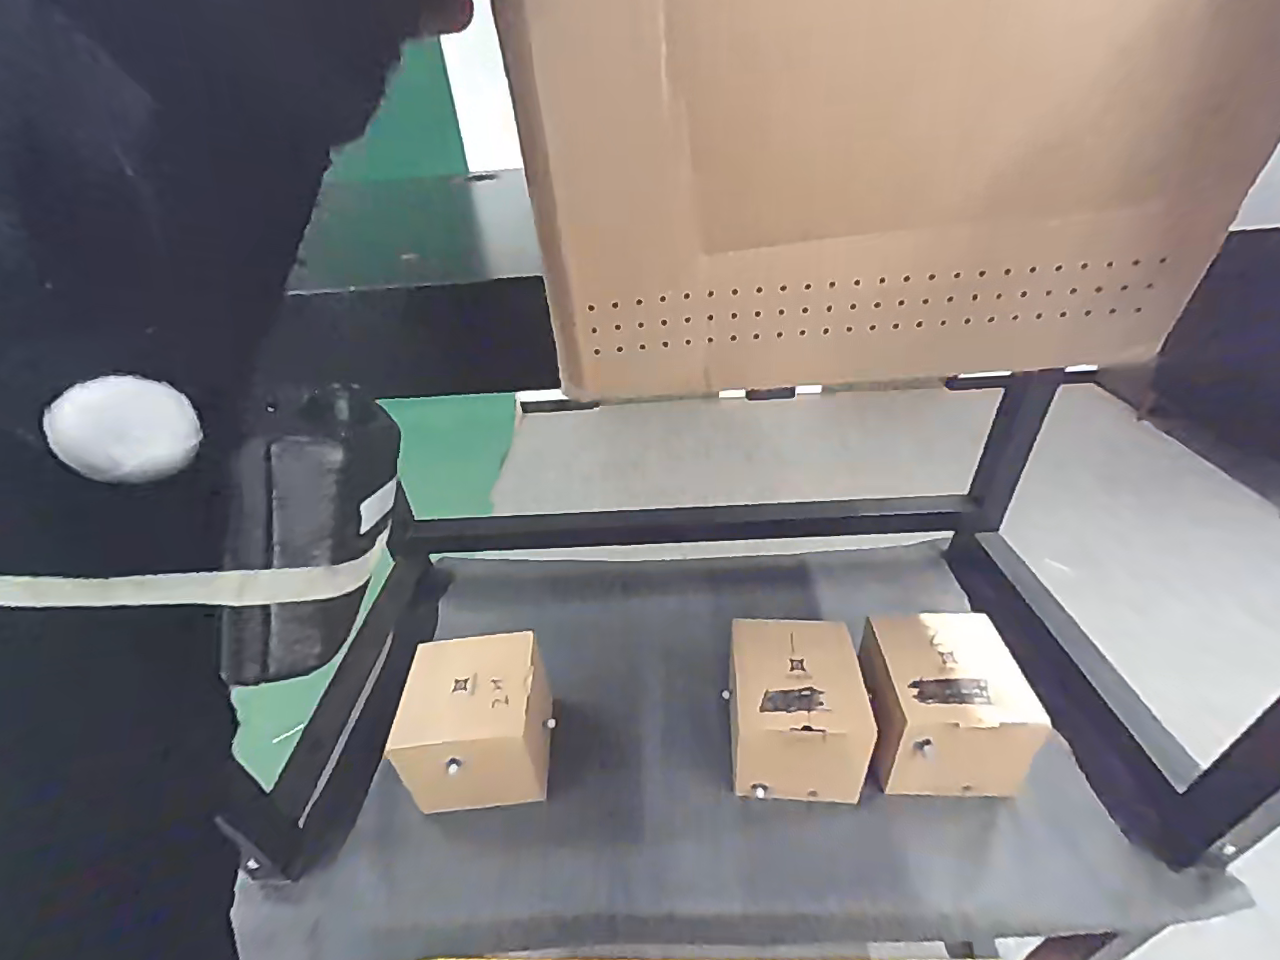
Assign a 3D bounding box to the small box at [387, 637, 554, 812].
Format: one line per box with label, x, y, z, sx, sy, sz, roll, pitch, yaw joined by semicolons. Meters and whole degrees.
small box;-0.229;0.354;0.783;0.179;0.176;0.168;-5;34;-1
